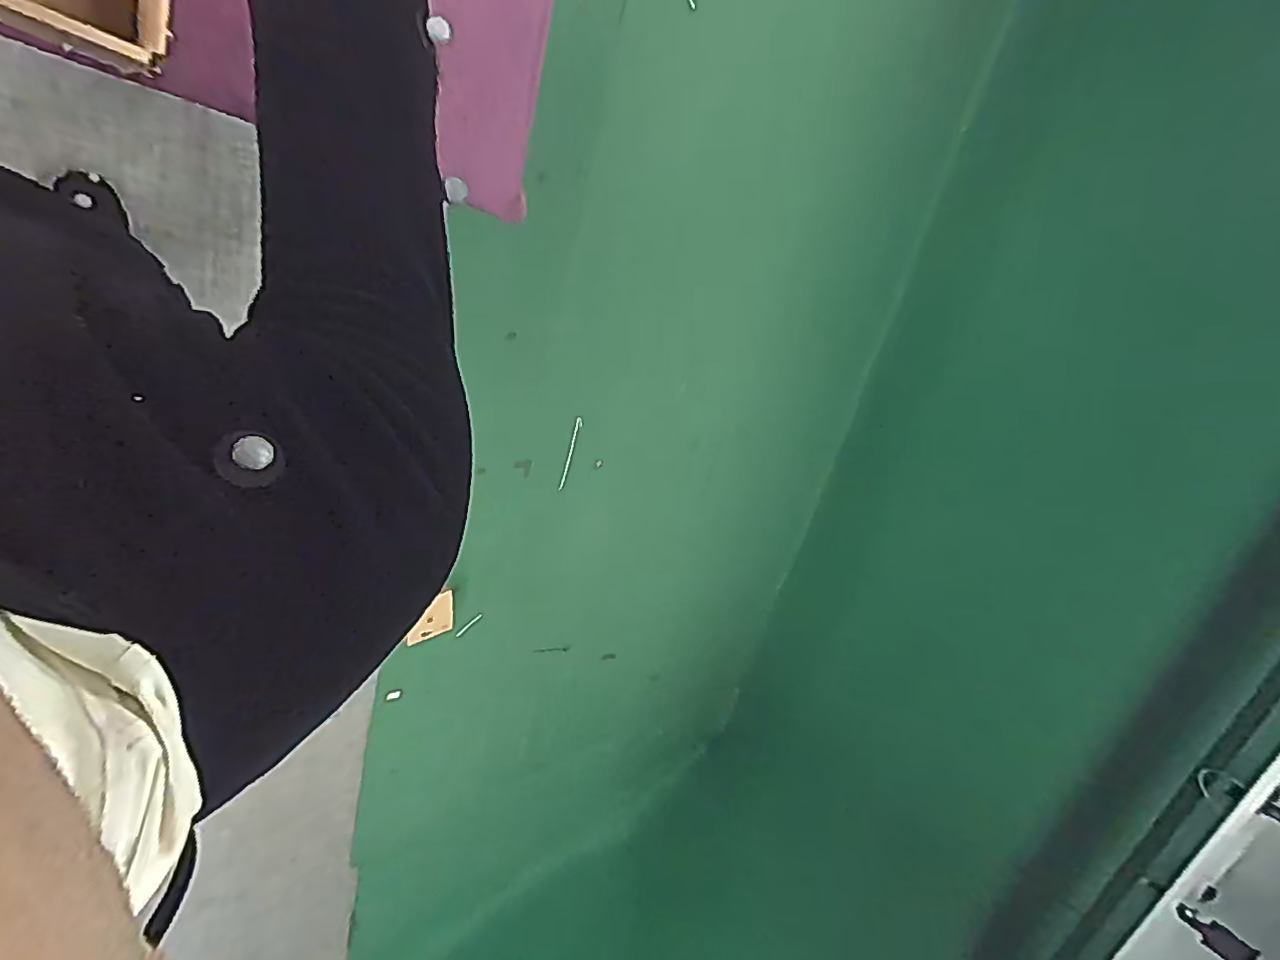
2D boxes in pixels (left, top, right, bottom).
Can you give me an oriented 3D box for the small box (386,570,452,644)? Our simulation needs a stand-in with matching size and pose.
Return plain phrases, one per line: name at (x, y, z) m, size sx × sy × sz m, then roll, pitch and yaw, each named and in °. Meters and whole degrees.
small box at (-0.785, 0.441, 1.917) m, size 0.168 × 0.176 × 0.179 m, roll -16°, pitch 124°, yaw -40°
